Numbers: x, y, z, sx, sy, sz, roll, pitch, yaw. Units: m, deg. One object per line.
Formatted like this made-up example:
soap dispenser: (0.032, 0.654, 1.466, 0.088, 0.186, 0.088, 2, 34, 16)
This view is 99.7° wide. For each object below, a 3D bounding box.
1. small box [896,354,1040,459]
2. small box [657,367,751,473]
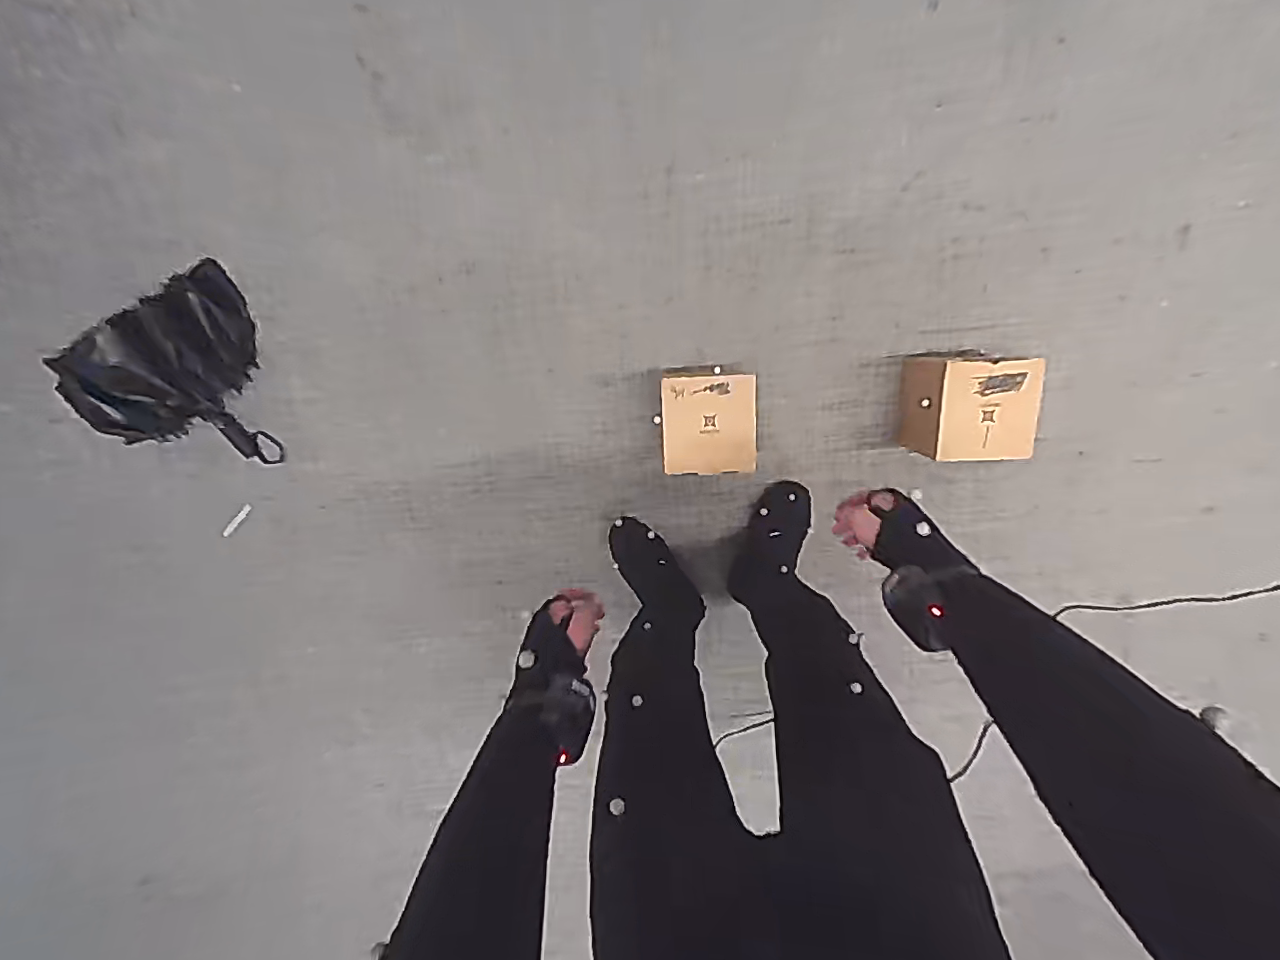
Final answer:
small box: (0.595, -0.143, 1.007, 0.168, 0.176, 0.179, -1, 106, 4)
small box: (0.120, -0.120, 1.039, 0.168, 0.176, 0.179, -2, 105, 3)
